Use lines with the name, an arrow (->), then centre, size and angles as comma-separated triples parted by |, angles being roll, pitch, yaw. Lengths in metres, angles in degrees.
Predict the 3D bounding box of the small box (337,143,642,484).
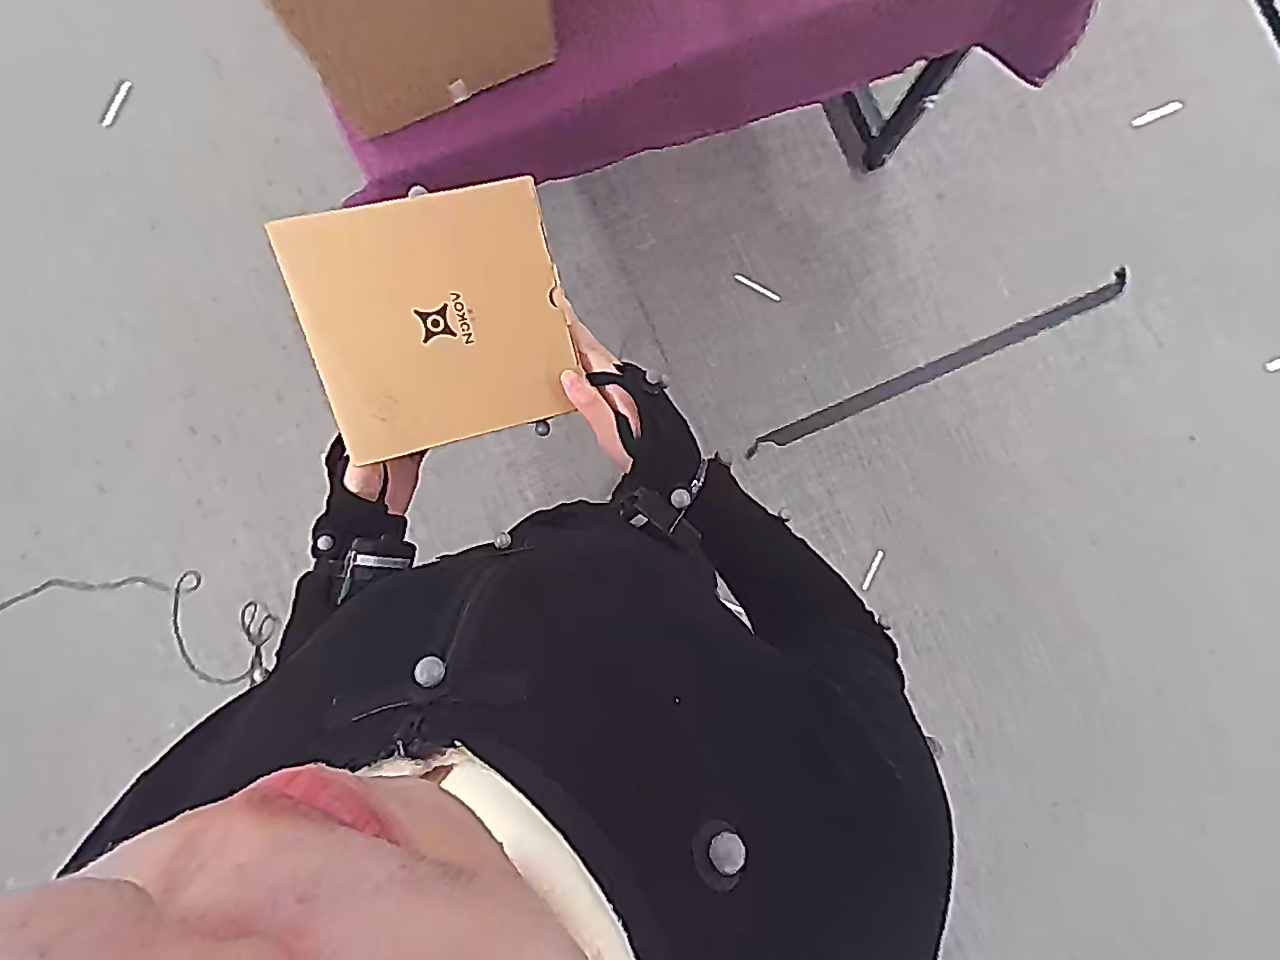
small box -> -0.118, -0.119, 0.419 | 0.168, 0.176, 0.179 | -21, 85, -29
